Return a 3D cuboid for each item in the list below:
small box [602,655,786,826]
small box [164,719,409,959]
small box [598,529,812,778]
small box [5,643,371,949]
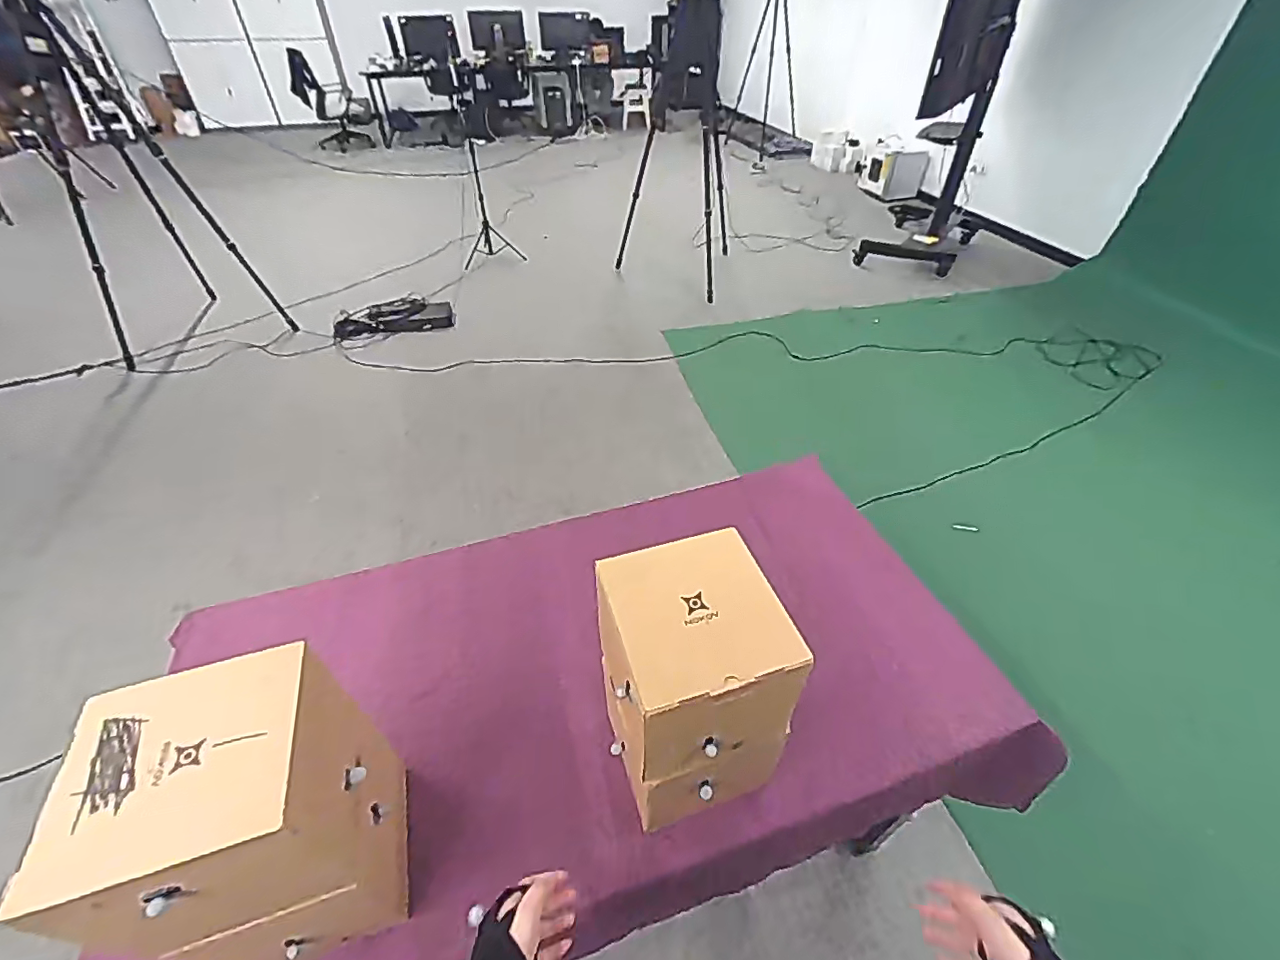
[{"bbox_3d":[0.062,0.310,0.695,0.179,0.176,0.168,-14,44,-13],"label":"small box"},{"bbox_3d":[-0.365,0.404,0.601,0.168,0.176,0.179,-13,44,-13],"label":"small box"},{"bbox_3d":[0.055,0.186,0.589,0.168,0.176,0.179,-13,44,-13],"label":"small box"},{"bbox_3d":[-0.367,0.283,0.489,0.179,0.176,0.168,-13,44,-14],"label":"small box"}]
